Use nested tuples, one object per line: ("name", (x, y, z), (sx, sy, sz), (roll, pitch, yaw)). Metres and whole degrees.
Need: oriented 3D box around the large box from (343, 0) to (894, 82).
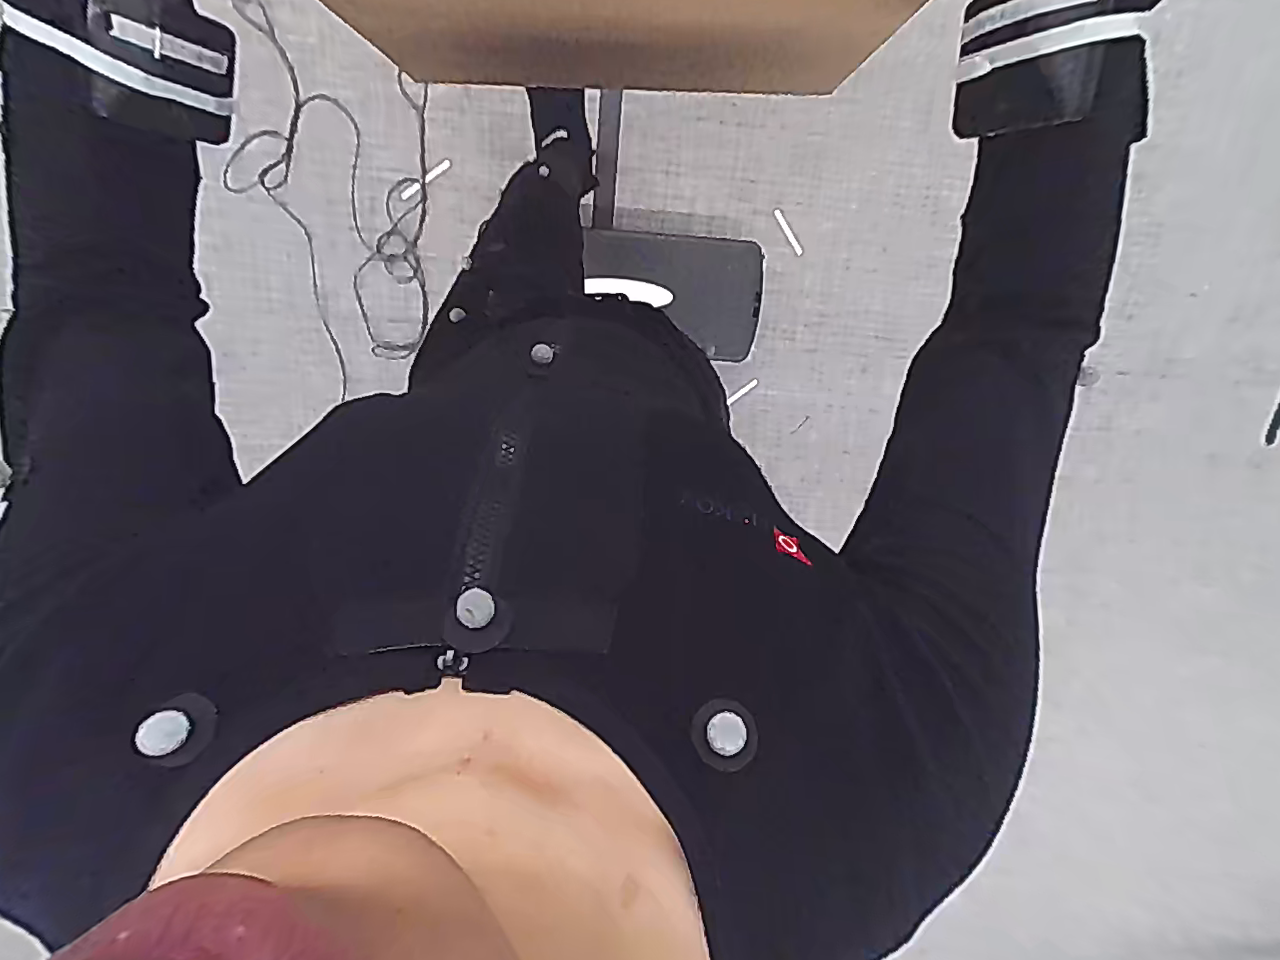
("large box", (-0.016, -0.479, 0.332), (0.408, 0.320, 0.320), (1, 111, -1))
